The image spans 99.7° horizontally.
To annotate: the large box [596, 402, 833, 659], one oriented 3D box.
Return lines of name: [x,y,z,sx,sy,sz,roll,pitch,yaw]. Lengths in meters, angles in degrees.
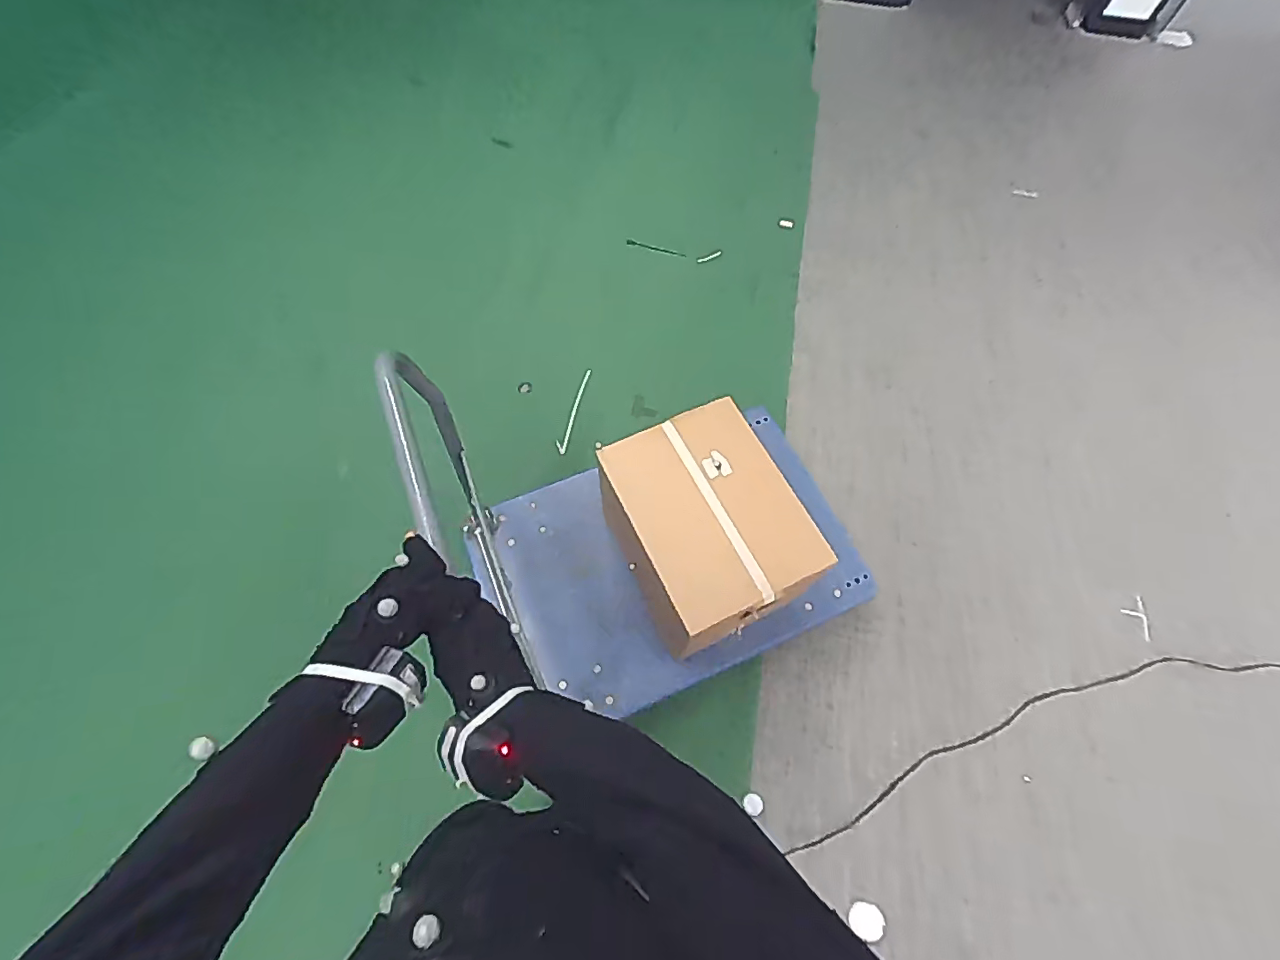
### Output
large box: [0.134,0.117,1.171,0.320,0.320,0.408,-23,66,-13]
